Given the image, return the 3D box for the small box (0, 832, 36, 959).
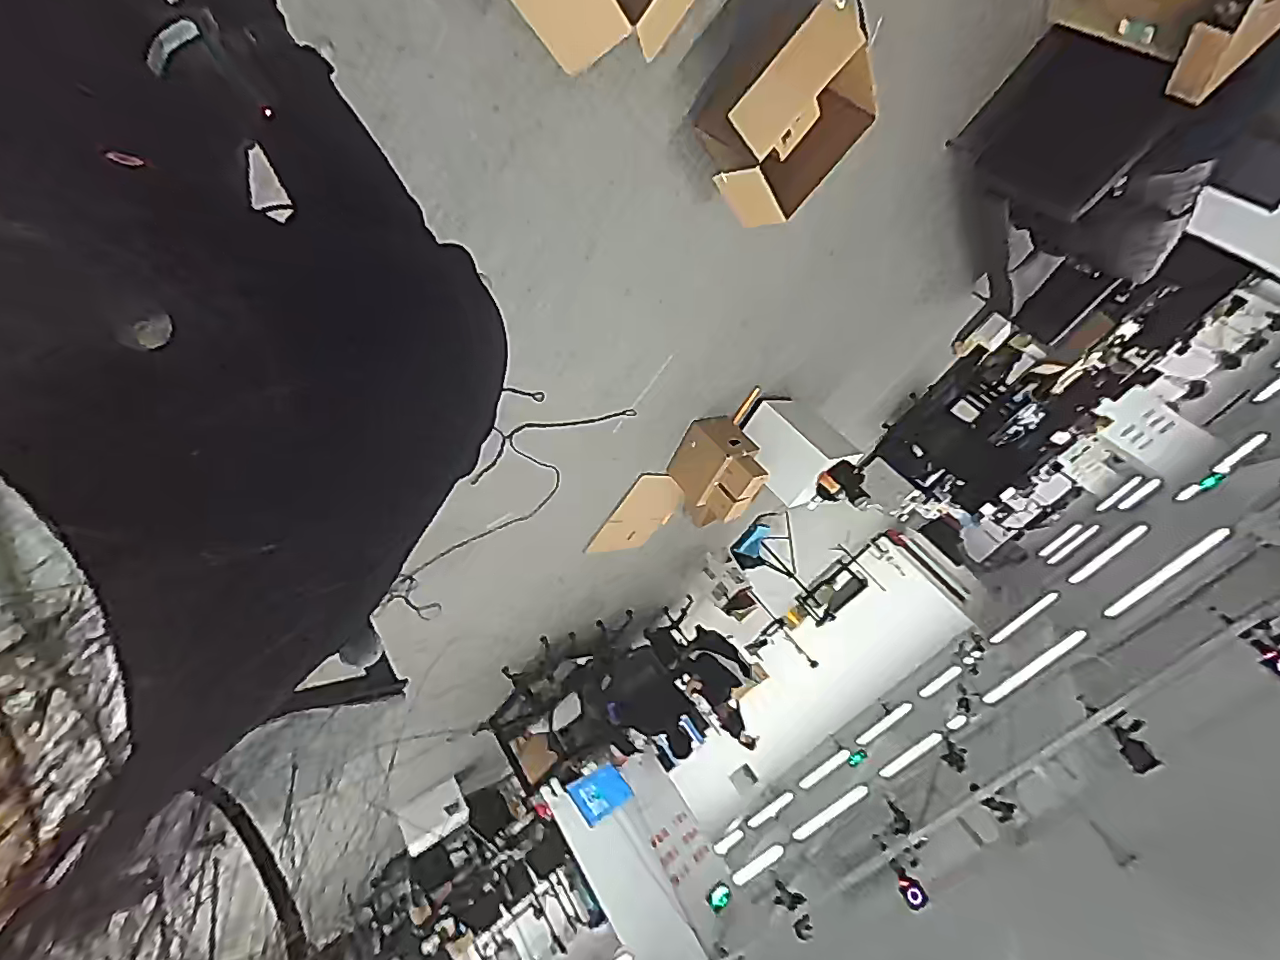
[{"bbox_3d":[-1.236,0.786,0.977,0.179,0.176,0.168,-51,153,21],"label":"small box"}]
